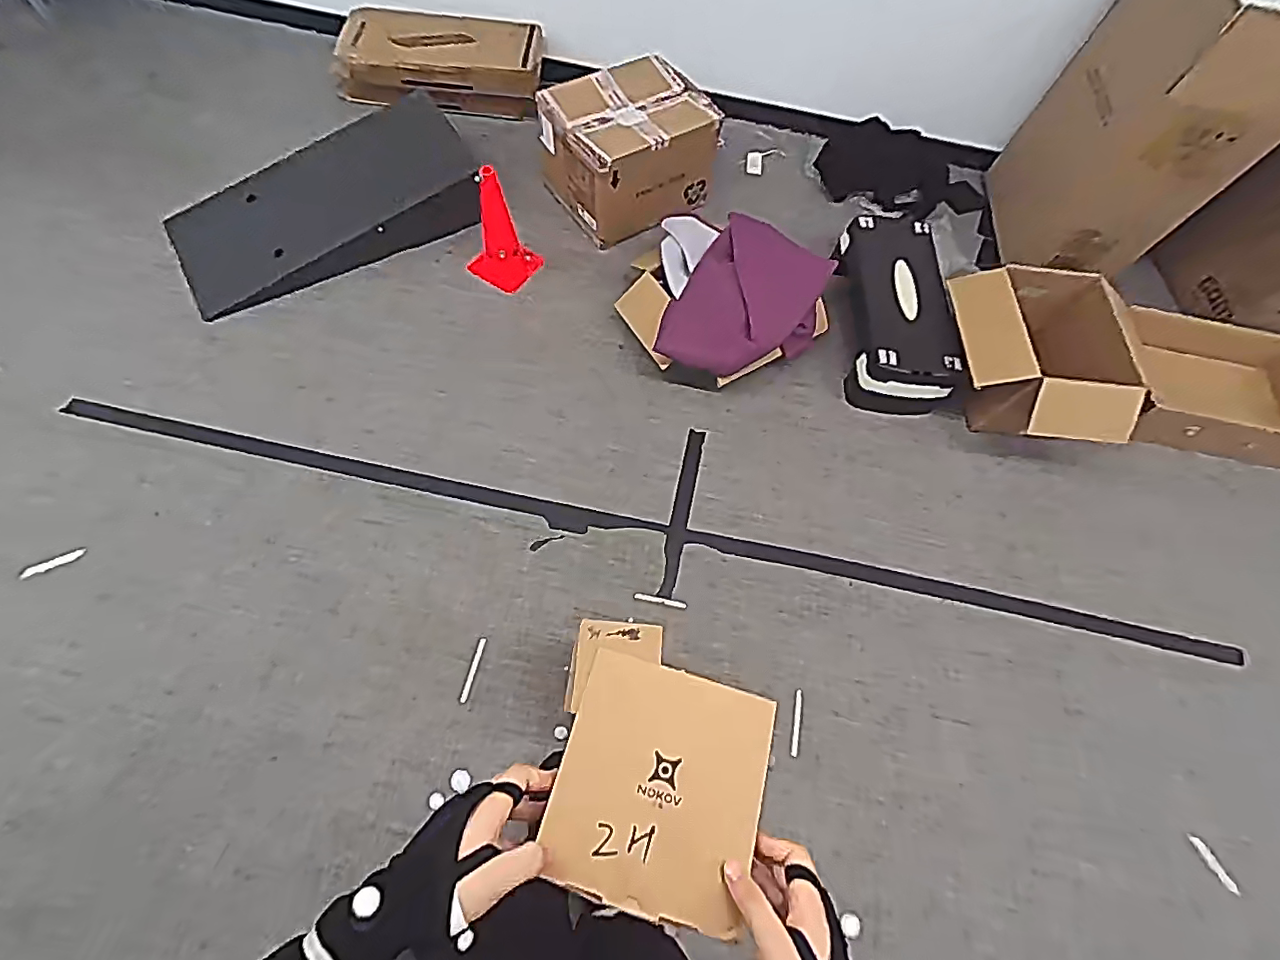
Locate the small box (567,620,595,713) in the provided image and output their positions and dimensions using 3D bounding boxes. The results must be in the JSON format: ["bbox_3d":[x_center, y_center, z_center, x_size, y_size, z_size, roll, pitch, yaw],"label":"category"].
[{"bbox_3d":[-0.065,0.416,1.179,0.168,0.176,0.179,6,66,-2],"label":"small box"}]

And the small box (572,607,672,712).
[{"bbox_3d":[-0.034,0.352,1.030,0.168,0.176,0.179,6,65,-2],"label":"small box"}]

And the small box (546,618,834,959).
[{"bbox_3d":[0.035,0.235,0.431,0.168,0.176,0.179,17,63,4],"label":"small box"}]
